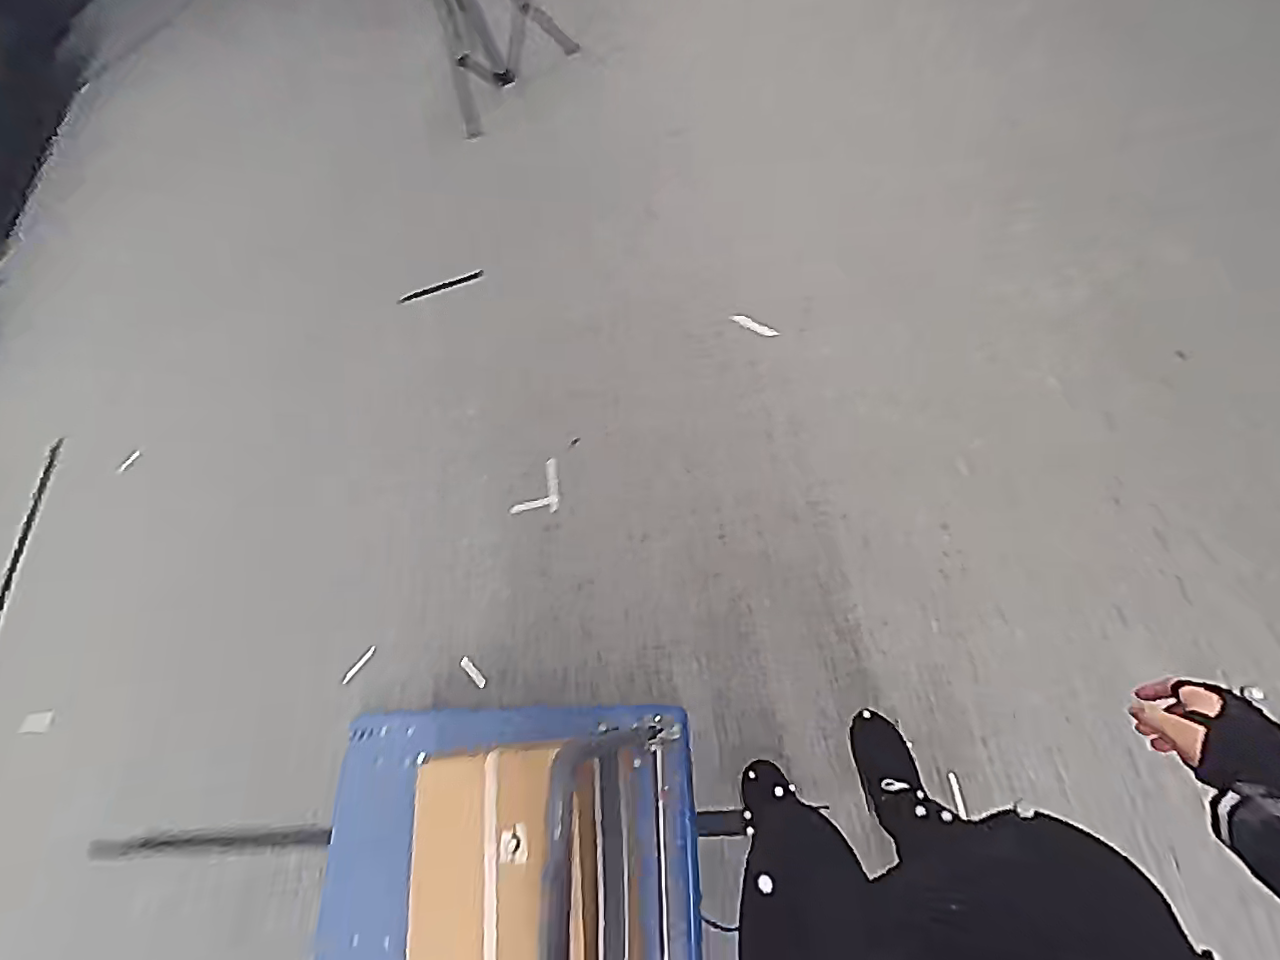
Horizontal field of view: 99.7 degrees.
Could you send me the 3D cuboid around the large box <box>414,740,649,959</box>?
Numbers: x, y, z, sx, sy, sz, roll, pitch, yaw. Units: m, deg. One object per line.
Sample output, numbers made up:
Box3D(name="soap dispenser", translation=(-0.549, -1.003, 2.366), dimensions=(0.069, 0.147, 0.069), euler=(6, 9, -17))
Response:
Box3D(name="large box", translation=(-0.186, 0.724, 1.009), dimensions=(0.320, 0.320, 0.408), euler=(-11, 65, 12))
